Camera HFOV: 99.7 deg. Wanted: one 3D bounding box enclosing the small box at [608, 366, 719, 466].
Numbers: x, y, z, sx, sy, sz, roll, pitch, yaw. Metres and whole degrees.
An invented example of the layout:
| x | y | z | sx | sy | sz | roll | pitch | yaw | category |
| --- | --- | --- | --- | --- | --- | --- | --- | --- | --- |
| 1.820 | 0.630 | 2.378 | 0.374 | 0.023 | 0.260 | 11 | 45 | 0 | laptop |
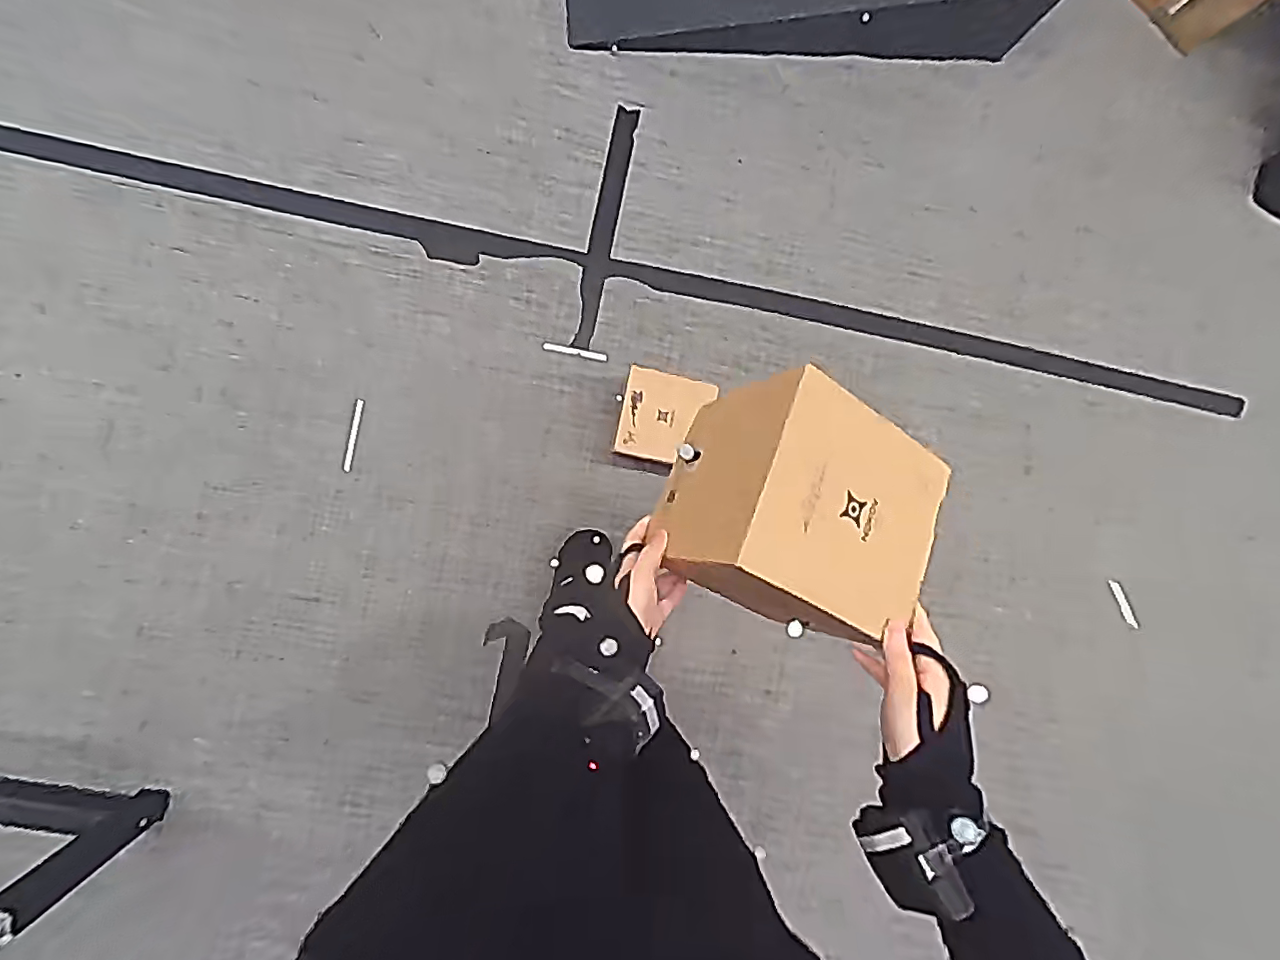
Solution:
| x | y | z | sx | sy | sz | roll | pitch | yaw | category |
| --- | --- | --- | --- | --- | --- | --- | --- | --- | --- |
| 0.039 | -0.118 | 1.092 | 0.179 | 0.176 | 0.168 | 13 | 90 | -7 | small box |

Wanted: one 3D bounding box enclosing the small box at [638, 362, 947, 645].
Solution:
| x | y | z | sx | sy | sz | roll | pitch | yaw | category |
| --- | --- | --- | --- | --- | --- | --- | --- | --- | --- |
| 0.129 | 0.025 | 0.487 | 0.179 | 0.176 | 0.168 | 30 | 73 | -20 | small box |
